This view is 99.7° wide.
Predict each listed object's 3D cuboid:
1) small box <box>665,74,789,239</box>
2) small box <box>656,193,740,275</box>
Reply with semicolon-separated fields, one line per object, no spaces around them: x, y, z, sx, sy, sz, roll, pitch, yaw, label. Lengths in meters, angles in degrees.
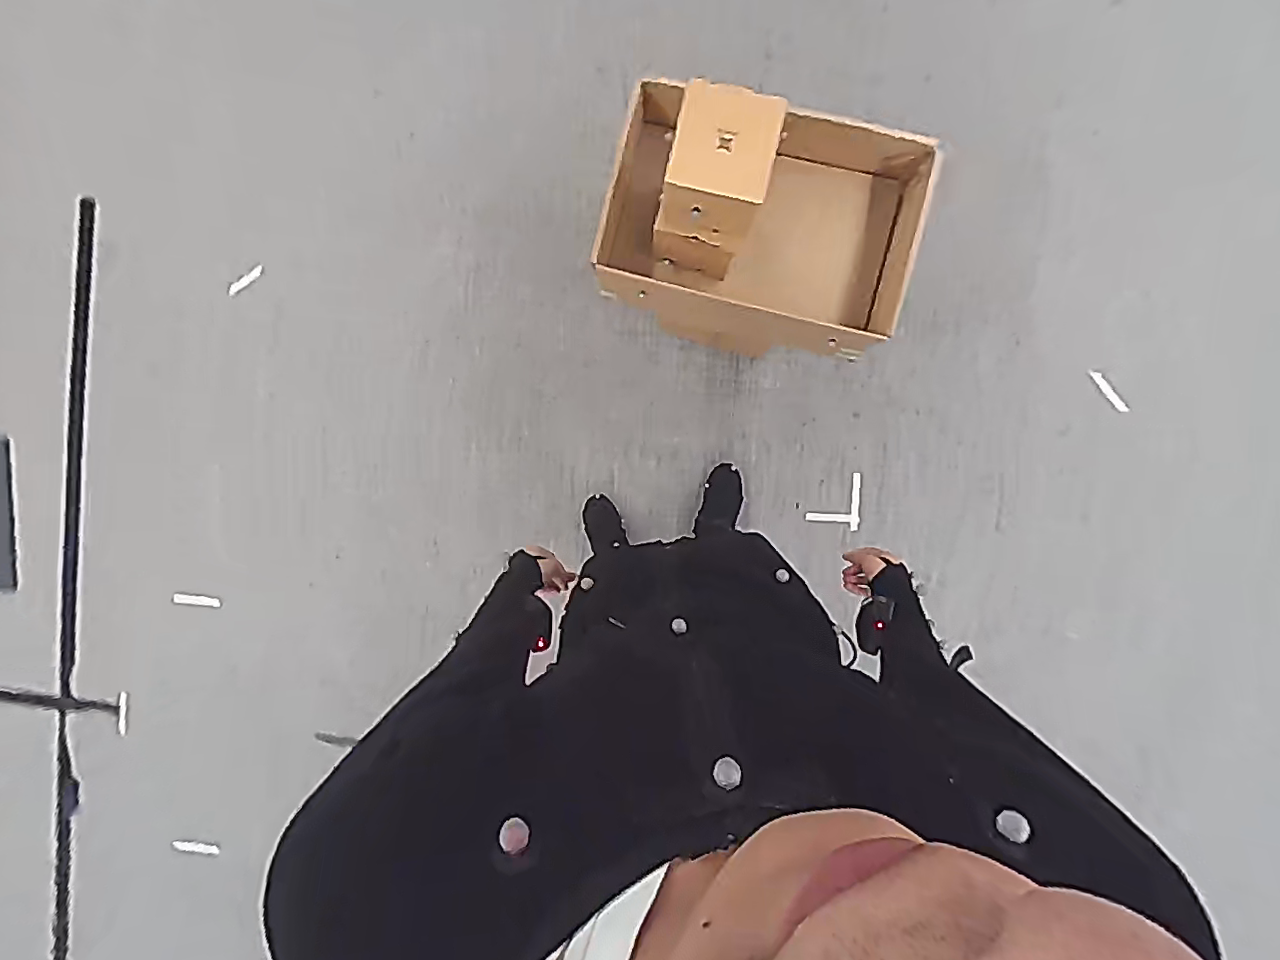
0.144;-0.552;0.949;0.168;0.176;0.179;14;91;1;small box
0.136;-0.548;1.112;0.168;0.176;0.179;18;91;1;small box
